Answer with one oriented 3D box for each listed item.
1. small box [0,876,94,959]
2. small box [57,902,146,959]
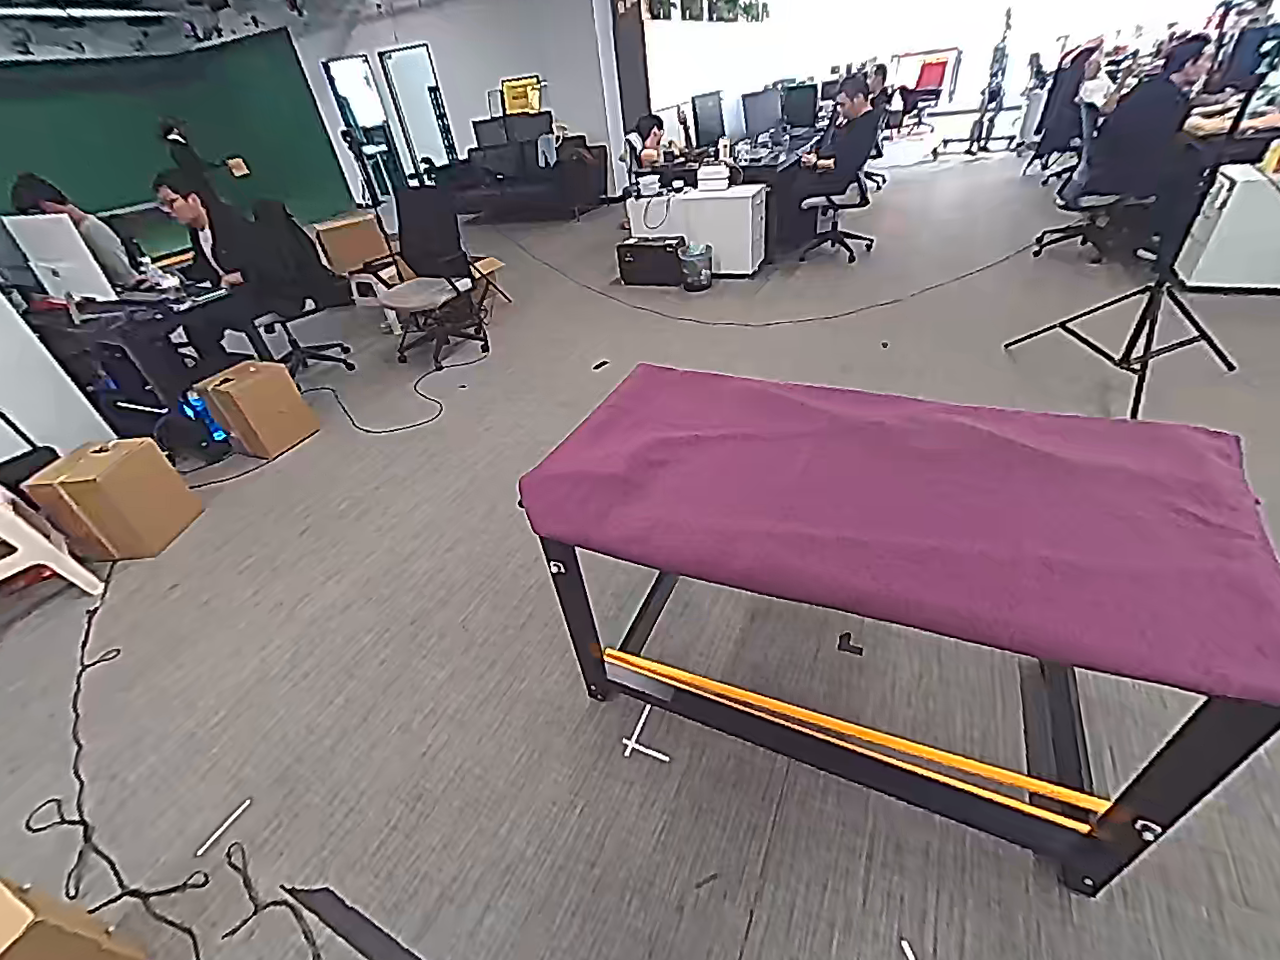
[{"bbox_3d":[-1.182,0.875,0.988,0.179,0.176,0.168,11,41,22],"label":"small box"},{"bbox_3d":[-1.166,1.006,1.087,0.179,0.176,0.168,12,41,23],"label":"small box"}]
